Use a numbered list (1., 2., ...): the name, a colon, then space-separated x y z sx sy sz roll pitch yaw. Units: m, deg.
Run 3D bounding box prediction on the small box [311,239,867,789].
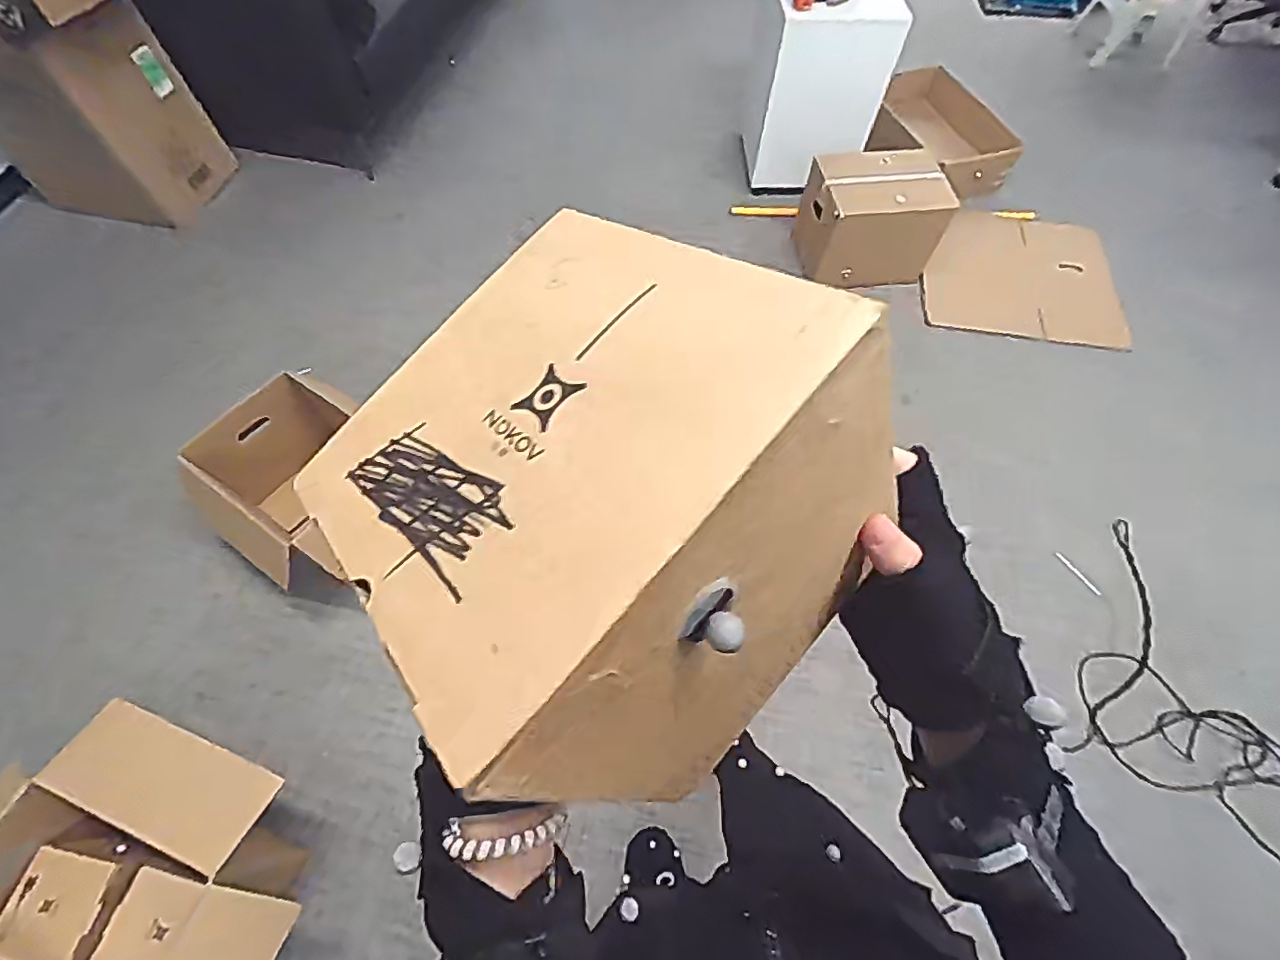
1. small box: -0.010 0.022 0.266 0.179 0.176 0.168 -50 52 -7
